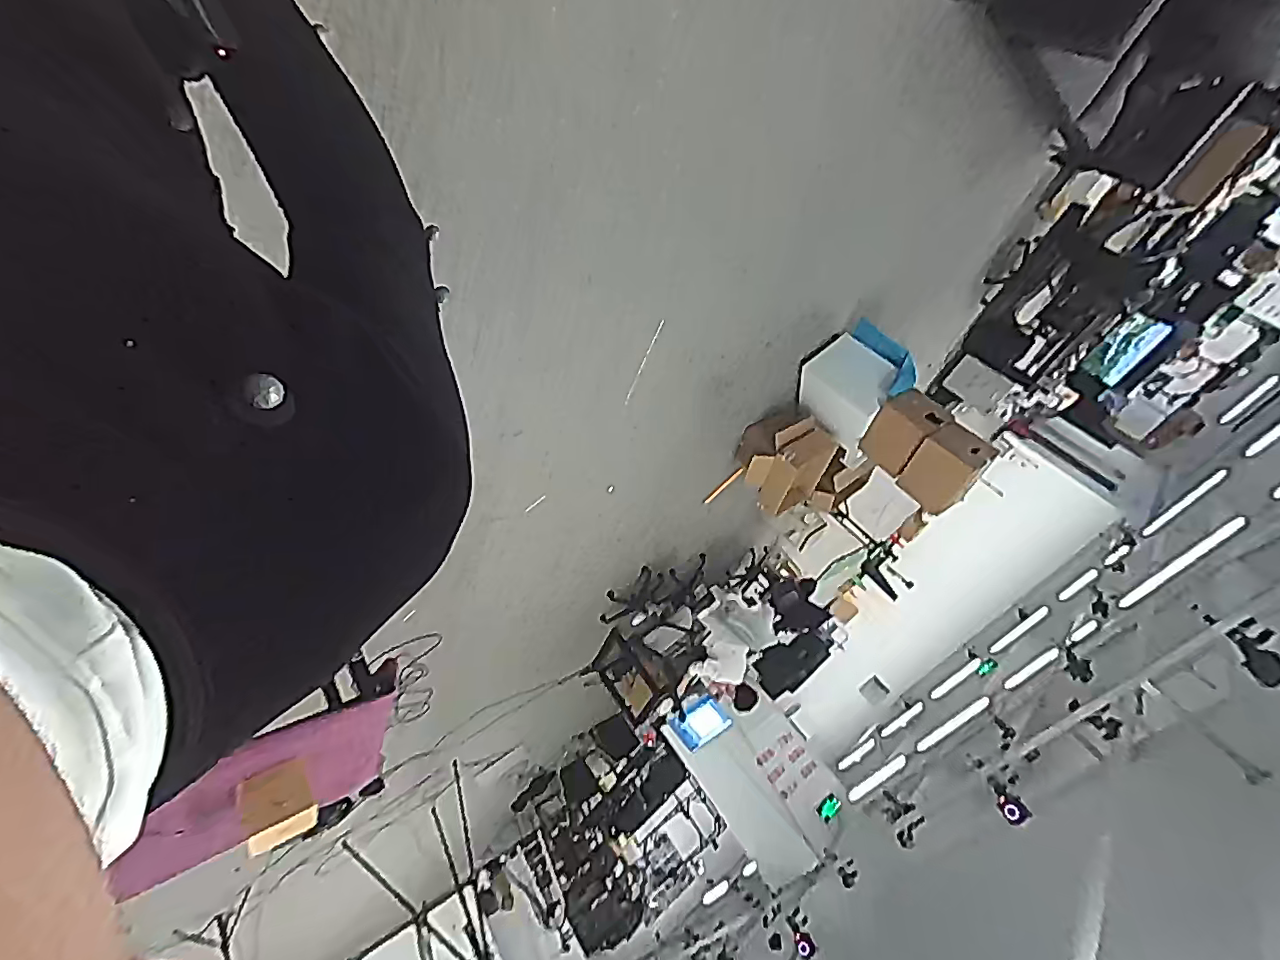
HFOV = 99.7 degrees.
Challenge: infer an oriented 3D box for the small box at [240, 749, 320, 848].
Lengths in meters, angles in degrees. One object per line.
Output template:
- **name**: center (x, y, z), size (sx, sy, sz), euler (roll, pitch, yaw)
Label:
- **small box**: center (-1.108, 0.971, 1.661), size (0.179, 0.176, 0.168), euler (-14, 141, -43)
